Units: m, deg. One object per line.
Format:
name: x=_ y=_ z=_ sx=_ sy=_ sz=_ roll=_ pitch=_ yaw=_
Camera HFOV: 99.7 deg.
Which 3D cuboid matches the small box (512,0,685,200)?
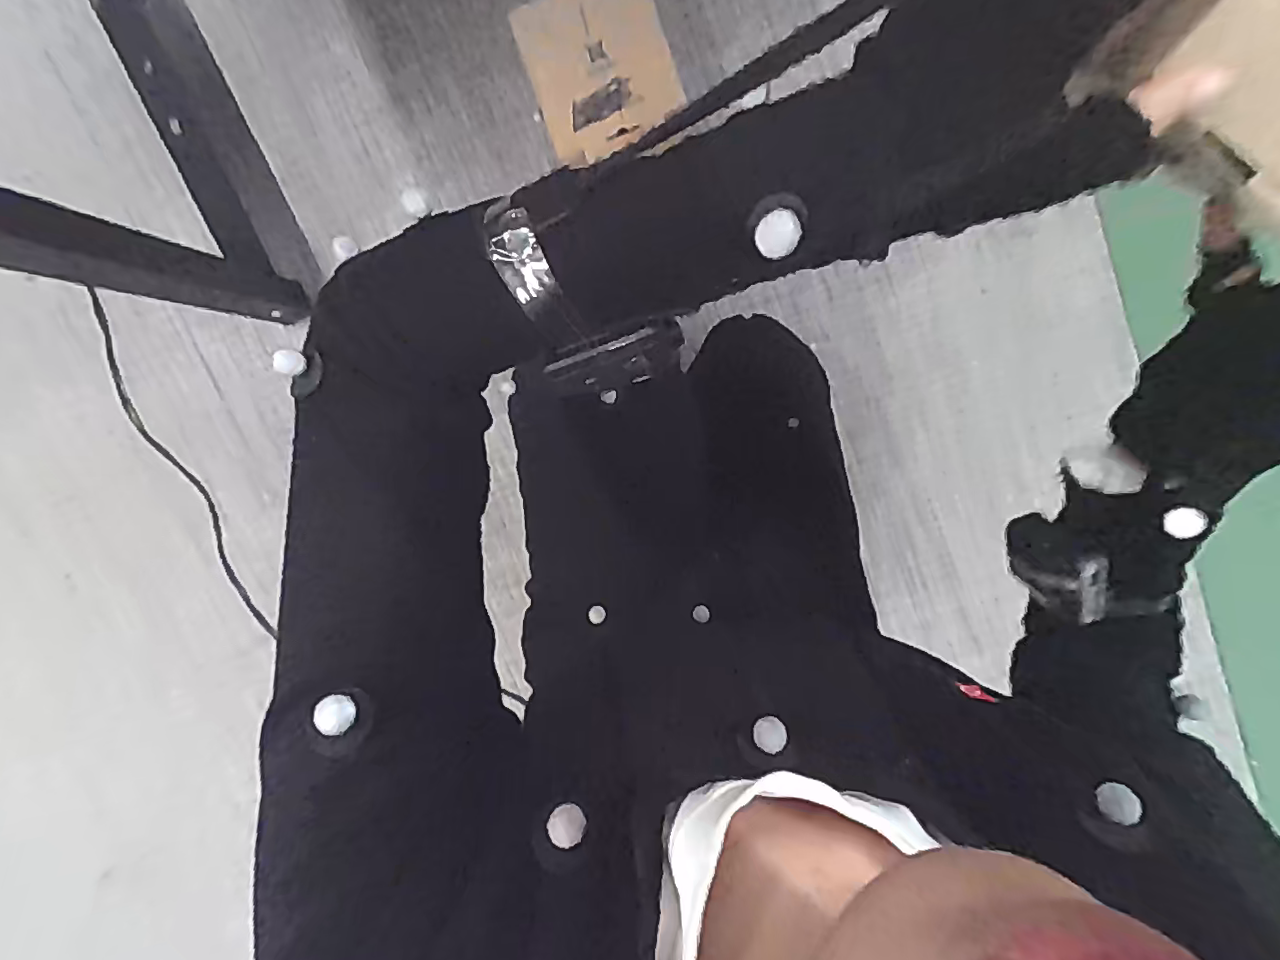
small box: x=-0.042 y=-0.500 z=0.717 sx=0.168 sy=0.176 sz=0.179 roll=-19 pitch=95 yaw=6
